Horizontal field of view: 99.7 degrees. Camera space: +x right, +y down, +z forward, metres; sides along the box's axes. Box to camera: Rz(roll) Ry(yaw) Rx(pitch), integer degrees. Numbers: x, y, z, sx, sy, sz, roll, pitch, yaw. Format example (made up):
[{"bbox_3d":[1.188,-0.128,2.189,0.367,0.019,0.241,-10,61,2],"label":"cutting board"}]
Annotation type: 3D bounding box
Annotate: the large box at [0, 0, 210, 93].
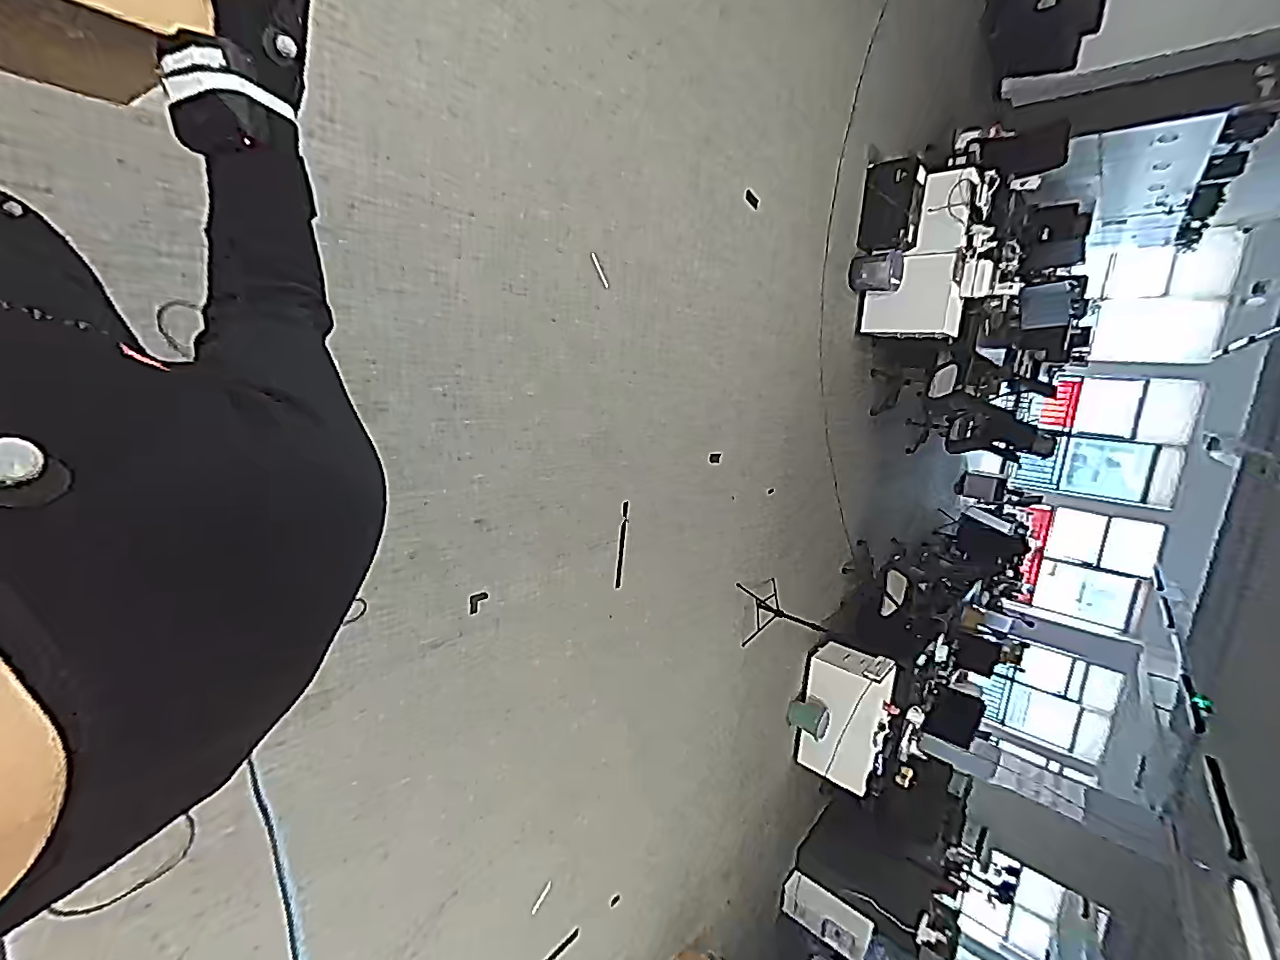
[{"bbox_3d":[-0.538,-0.477,0.291,0.408,0.320,0.320,-13,117,-50],"label":"large box"}]
